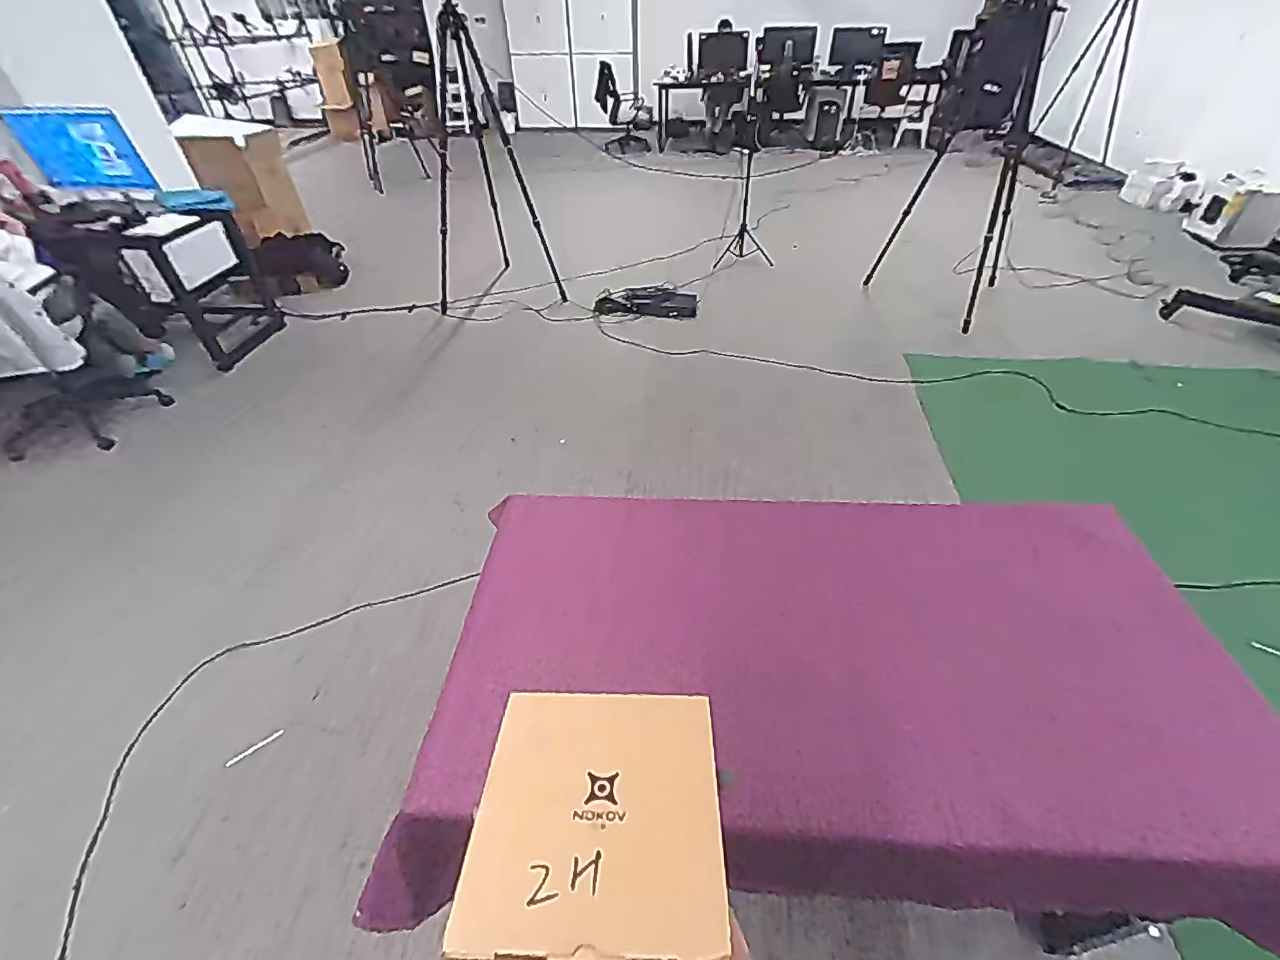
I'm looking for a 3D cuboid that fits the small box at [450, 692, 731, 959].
[{"bbox_3d":[-0.026,0.293,0.418,0.168,0.176,0.179,0,30,2],"label":"small box"}]
